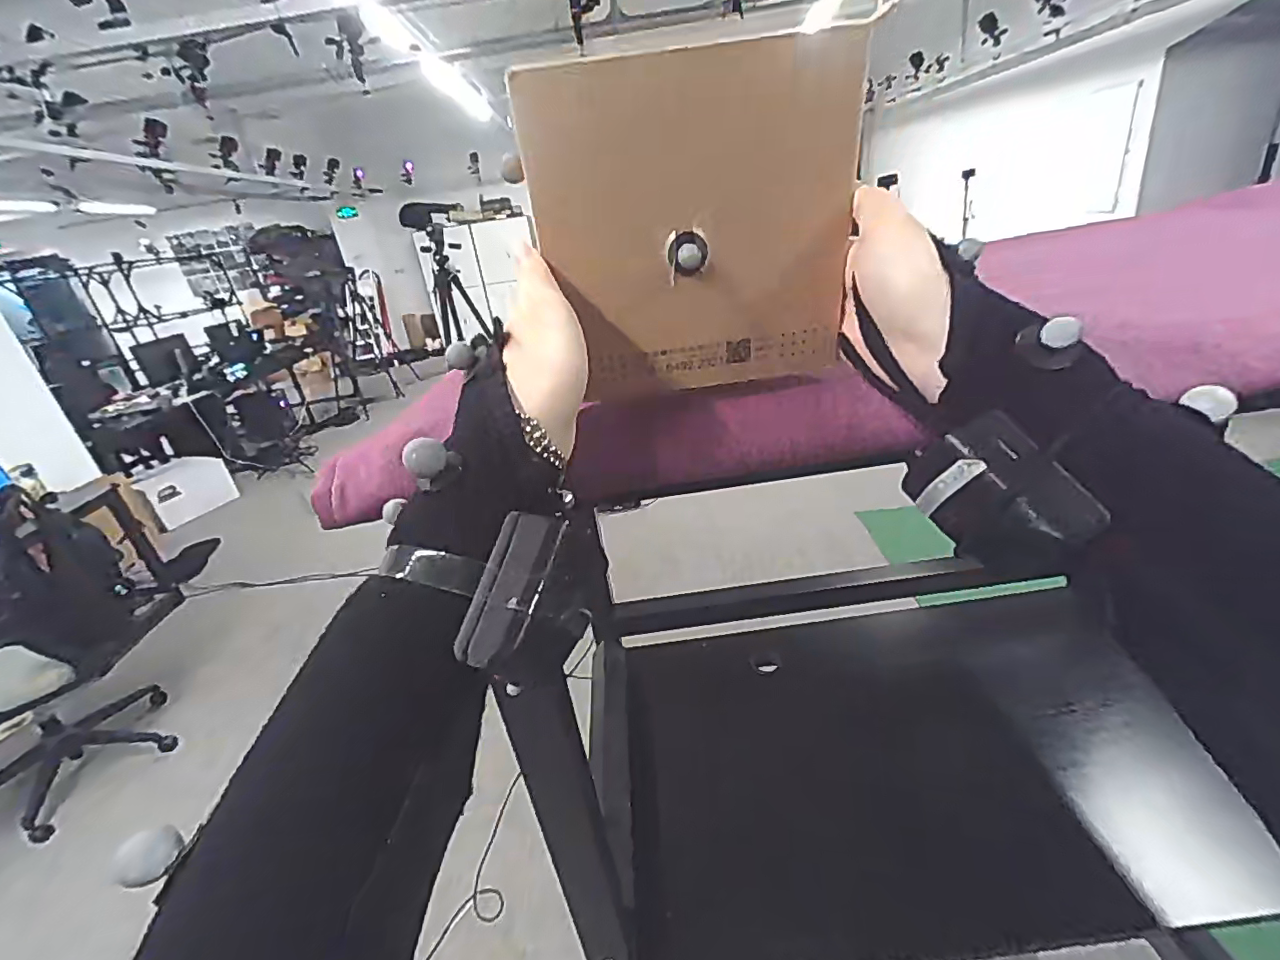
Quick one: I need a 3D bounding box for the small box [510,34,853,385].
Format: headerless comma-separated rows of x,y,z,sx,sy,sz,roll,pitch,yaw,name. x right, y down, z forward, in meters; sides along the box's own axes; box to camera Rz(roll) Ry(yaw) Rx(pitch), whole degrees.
0.023,-0.170,0.361,0.168,0.176,0.179,-7,33,-1,small box
